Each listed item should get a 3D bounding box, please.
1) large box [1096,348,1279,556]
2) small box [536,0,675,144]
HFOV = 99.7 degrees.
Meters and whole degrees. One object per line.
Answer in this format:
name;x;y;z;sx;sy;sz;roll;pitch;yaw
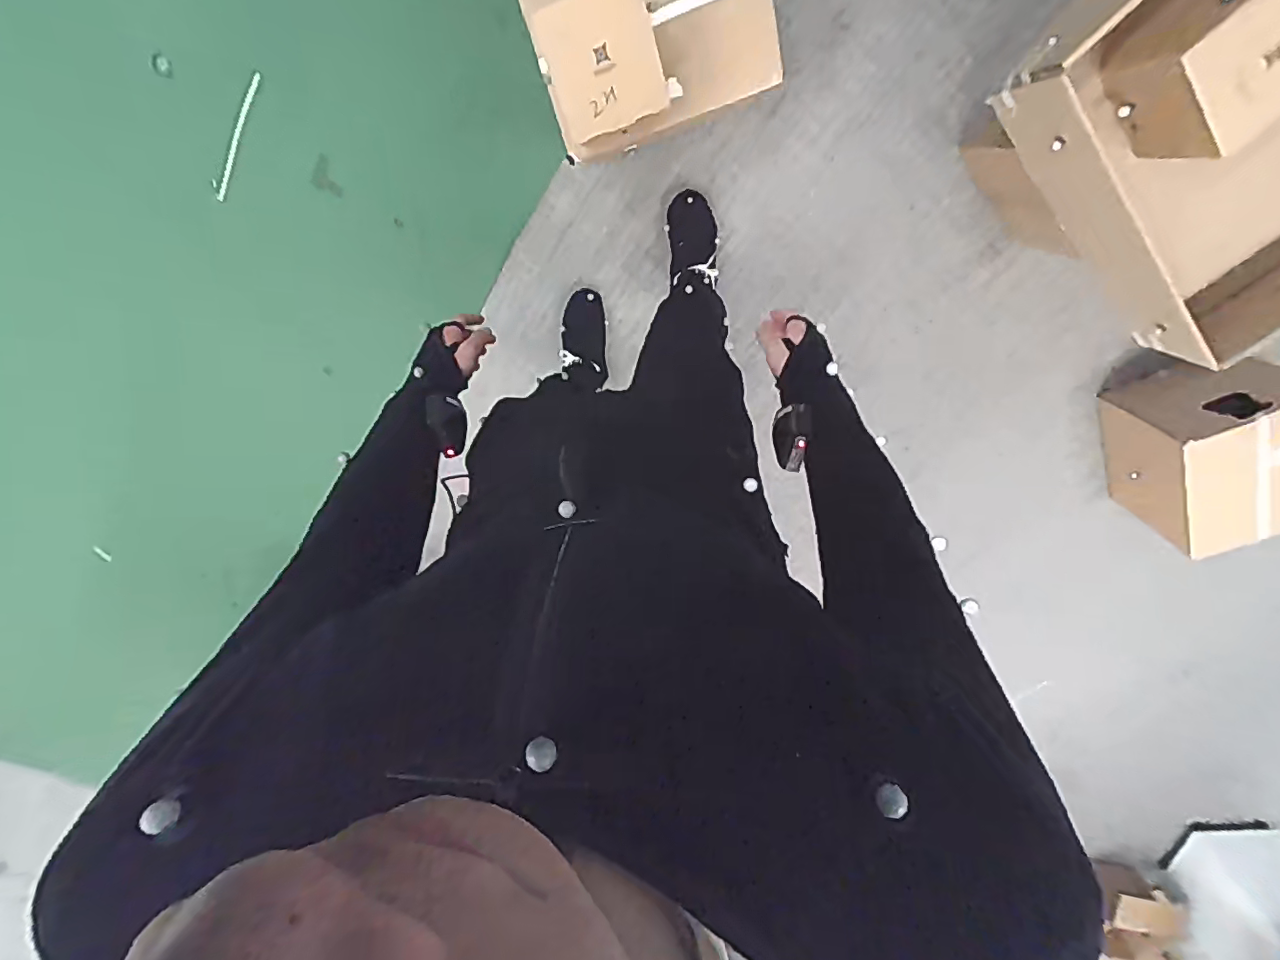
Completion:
large box;1.523;-0.078;1.460;0.320;0.320;0.408;-26;116;16
small box;-0.048;-0.663;0.868;0.168;0.176;0.179;-15;121;11
